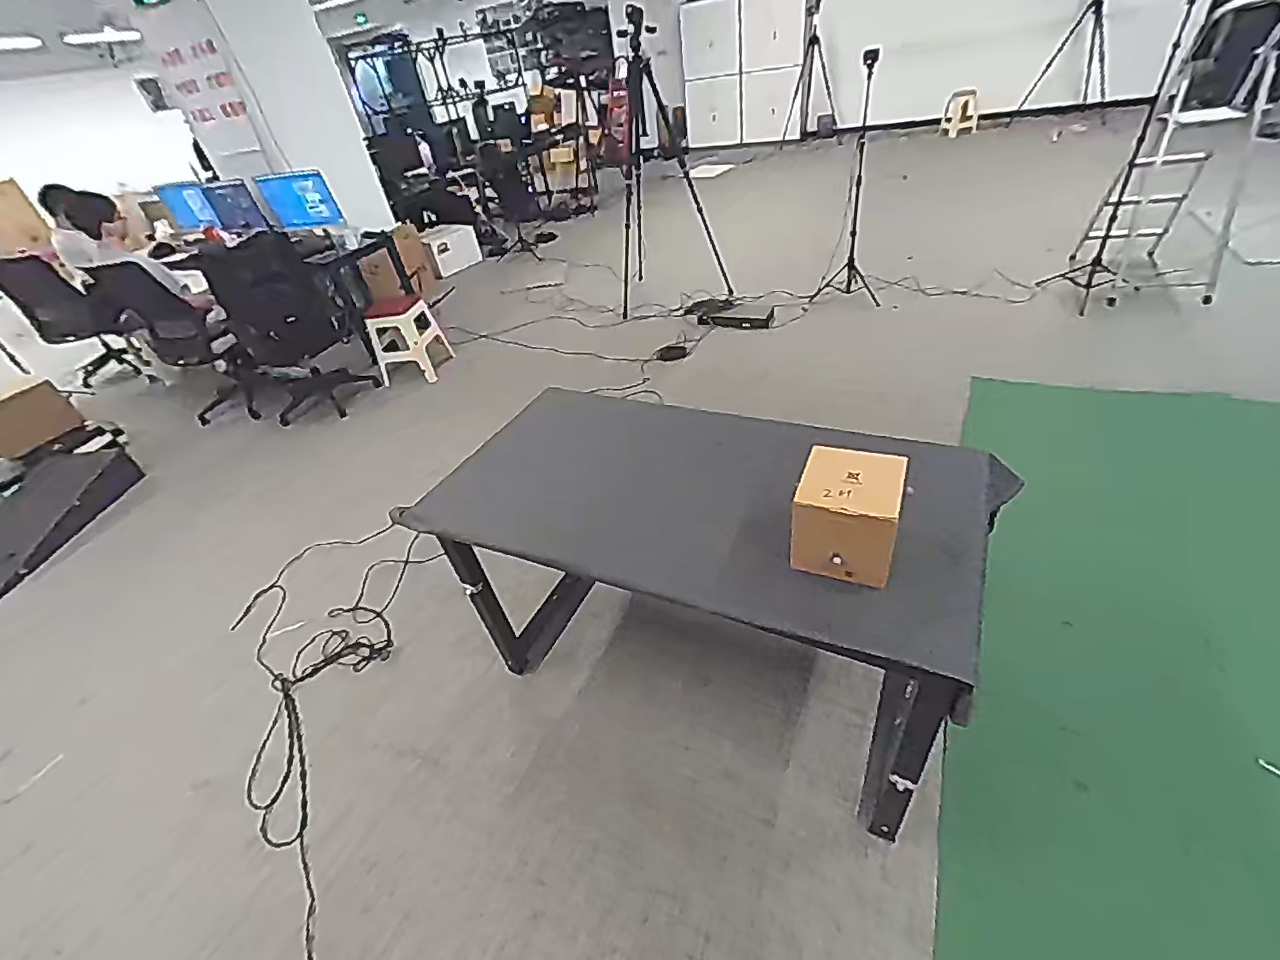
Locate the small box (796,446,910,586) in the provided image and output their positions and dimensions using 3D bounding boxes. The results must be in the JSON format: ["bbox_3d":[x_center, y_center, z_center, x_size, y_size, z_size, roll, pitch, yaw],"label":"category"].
[{"bbox_3d":[0.385,0.062,0.989,0.168,0.176,0.179,9,42,26],"label":"small box"}]
